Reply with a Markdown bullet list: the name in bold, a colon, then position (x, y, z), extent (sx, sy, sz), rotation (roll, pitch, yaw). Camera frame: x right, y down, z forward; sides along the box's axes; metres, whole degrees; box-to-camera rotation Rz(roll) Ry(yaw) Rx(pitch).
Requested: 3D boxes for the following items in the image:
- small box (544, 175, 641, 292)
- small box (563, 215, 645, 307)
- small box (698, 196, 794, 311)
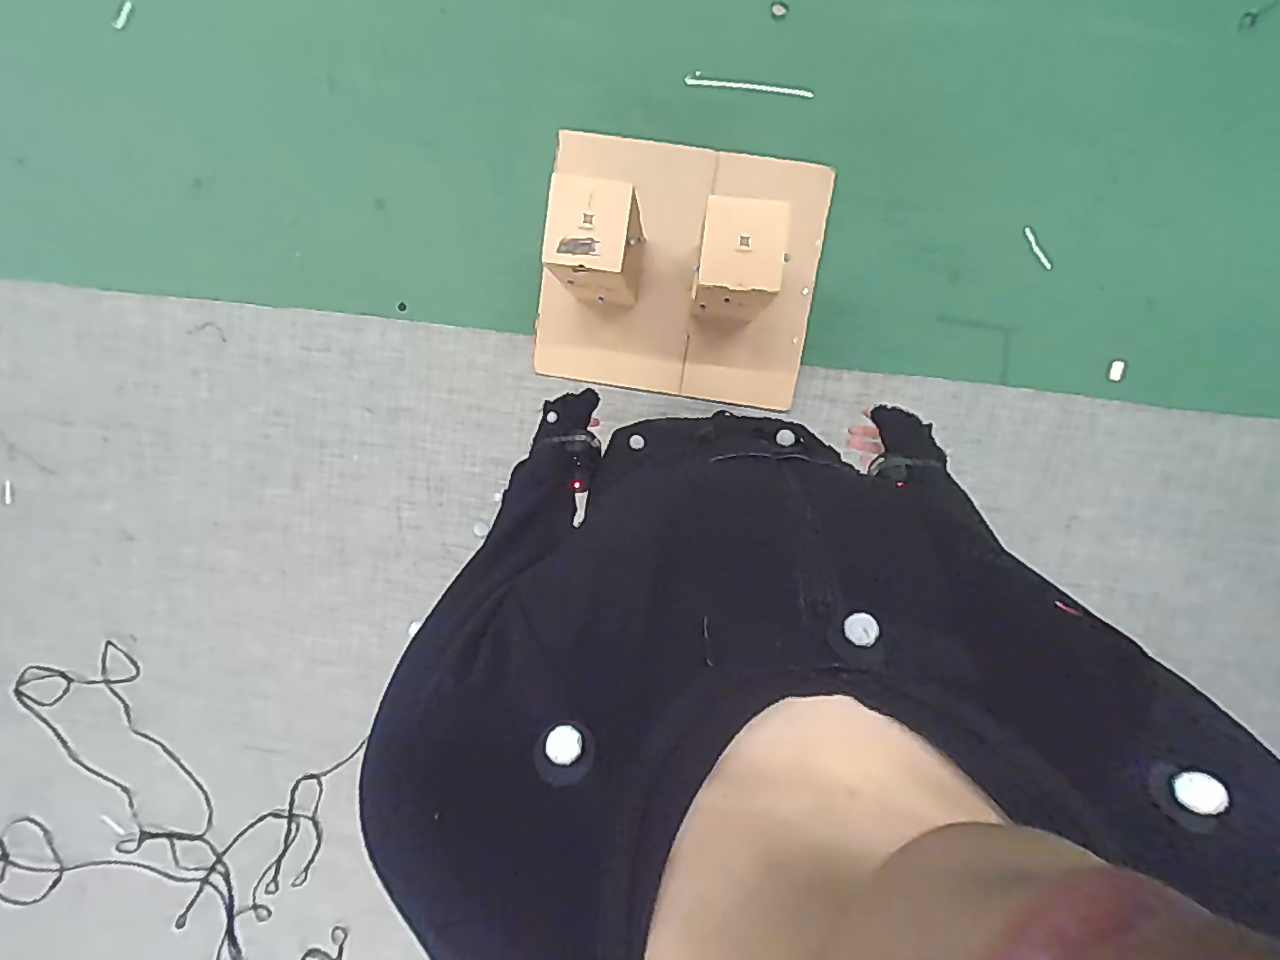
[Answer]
- **small box**: position (-0.094, -0.512, 1.147), extent (0.168, 0.176, 0.179), rotation (10, 97, 3)
- **small box**: position (-0.082, -0.532, 1.310), extent (0.168, 0.176, 0.179), rotation (8, 98, 4)
- **small box**: position (0.213, -0.468, 1.138), extent (0.168, 0.176, 0.179), rotation (6, 98, 3)
